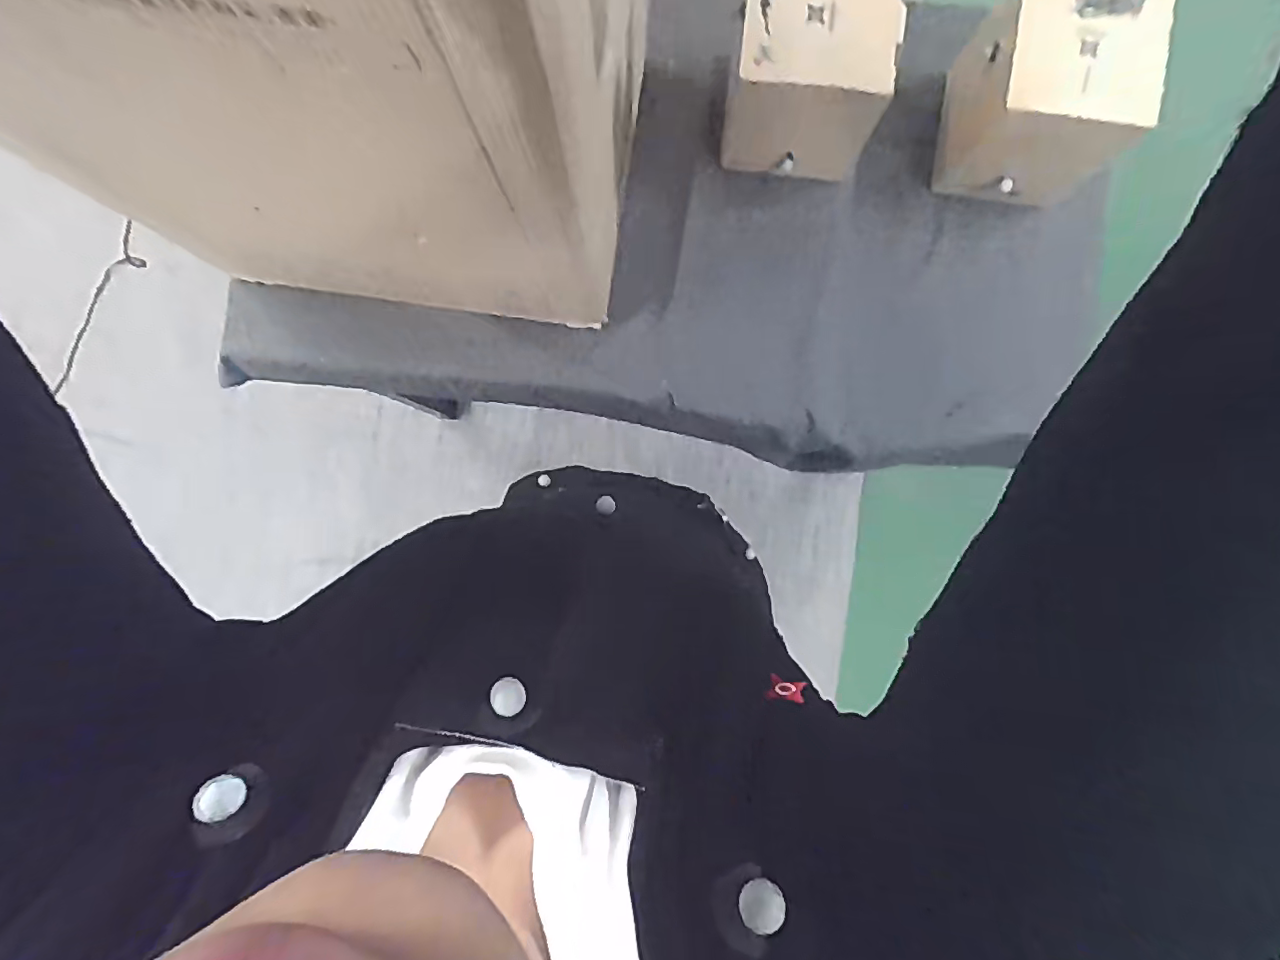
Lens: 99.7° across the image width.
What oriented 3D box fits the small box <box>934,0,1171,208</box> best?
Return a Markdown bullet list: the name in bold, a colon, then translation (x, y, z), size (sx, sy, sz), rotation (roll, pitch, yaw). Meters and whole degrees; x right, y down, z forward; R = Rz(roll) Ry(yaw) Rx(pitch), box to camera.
- **small box**: translation (0.502, -0.482, 0.684), size (0.168, 0.176, 0.179), rotation (10, 89, 2)
